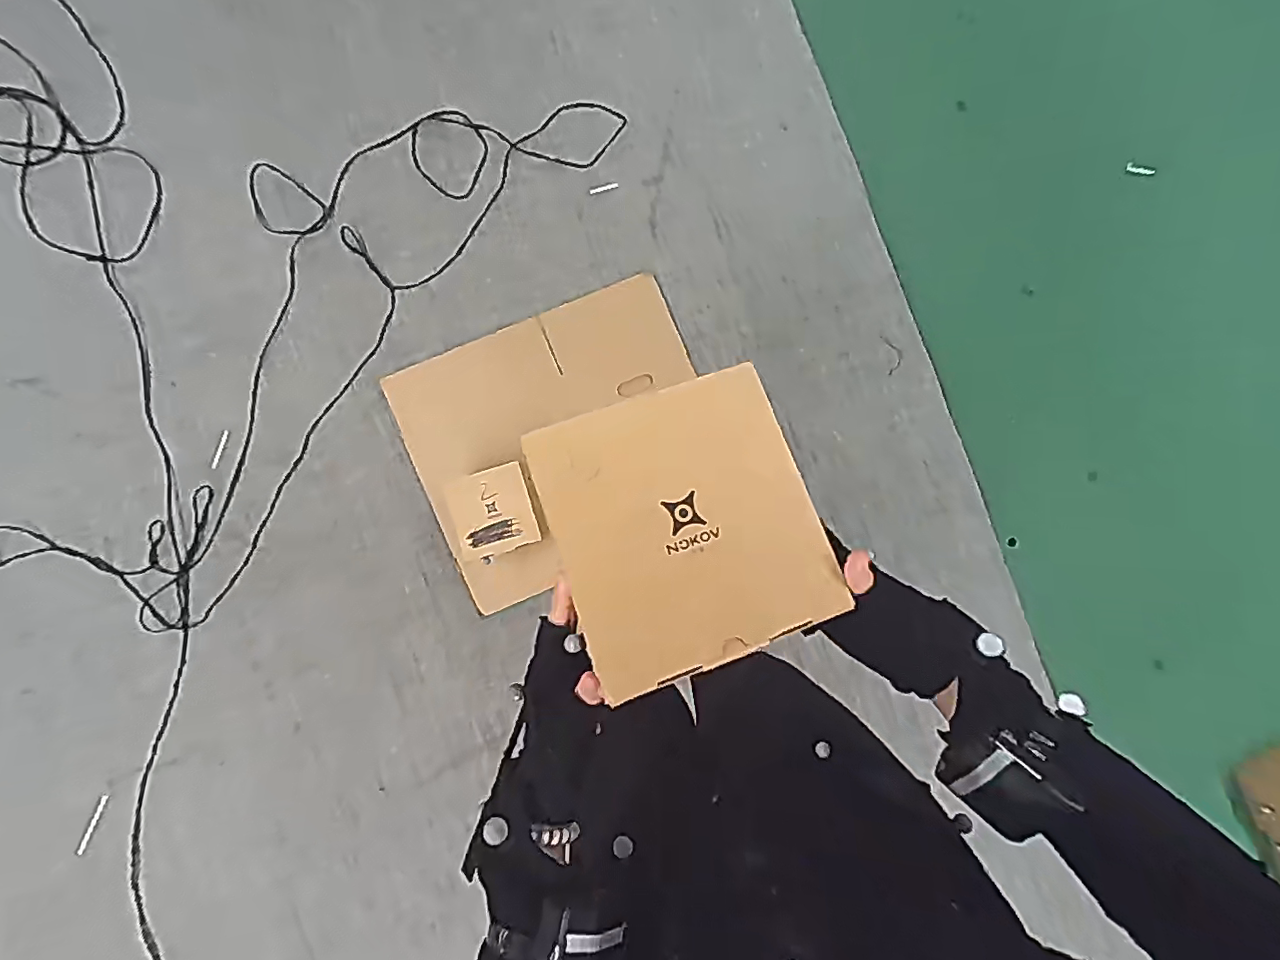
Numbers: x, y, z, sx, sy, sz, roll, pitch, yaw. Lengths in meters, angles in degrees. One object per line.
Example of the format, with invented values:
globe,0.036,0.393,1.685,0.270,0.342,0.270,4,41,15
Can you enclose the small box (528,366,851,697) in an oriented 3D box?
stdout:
small box,0.022,0.041,0.421,0.168,0.176,0.179,-19,81,-9
